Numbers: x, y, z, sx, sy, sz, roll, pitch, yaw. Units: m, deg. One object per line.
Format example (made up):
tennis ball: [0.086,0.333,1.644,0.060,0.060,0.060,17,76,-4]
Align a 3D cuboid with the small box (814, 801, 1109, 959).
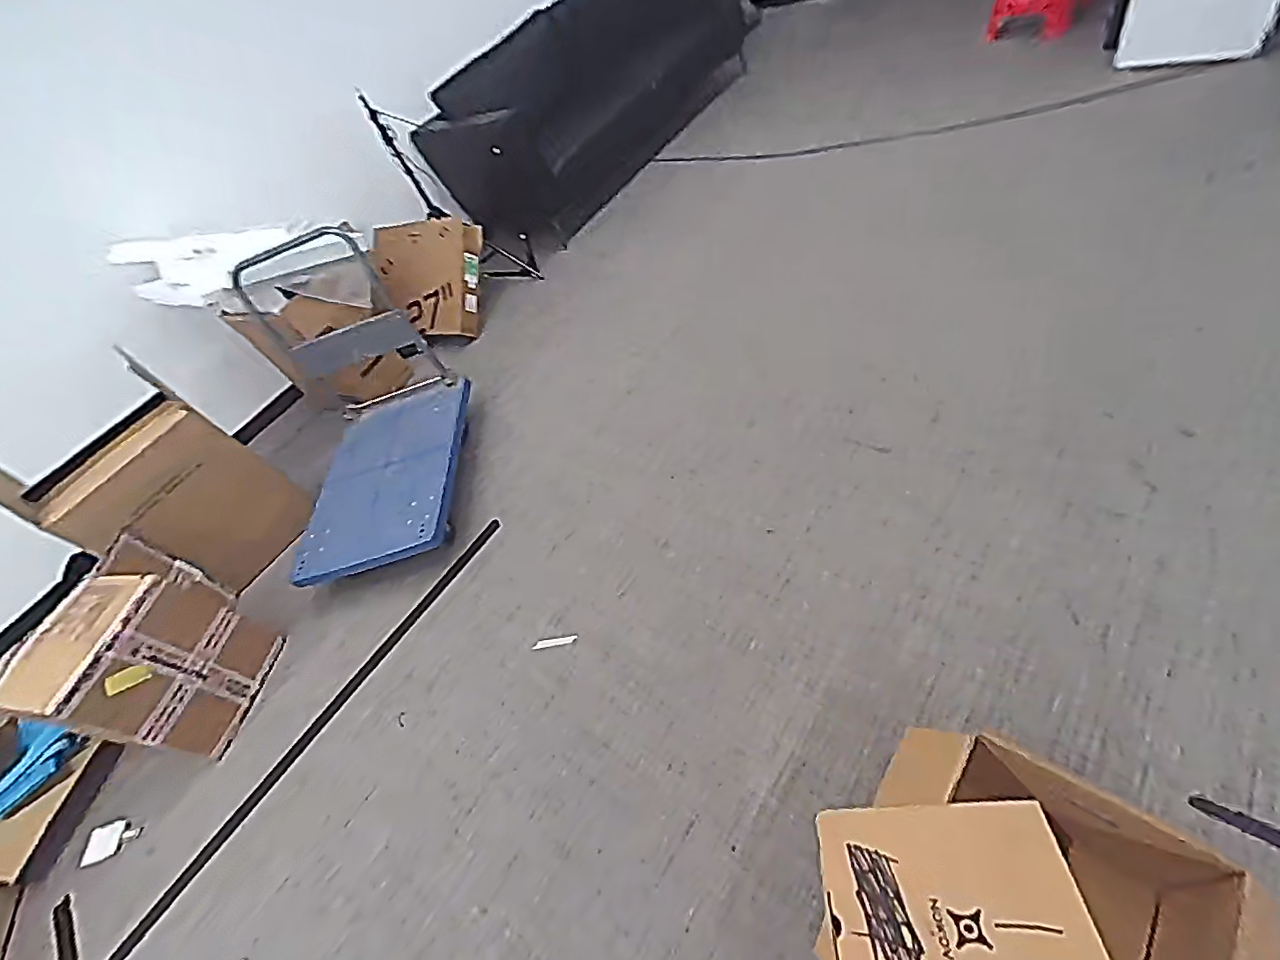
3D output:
small box: [0.253,0.383,0.425,0.179,0.176,0.168,-15,32,17]
